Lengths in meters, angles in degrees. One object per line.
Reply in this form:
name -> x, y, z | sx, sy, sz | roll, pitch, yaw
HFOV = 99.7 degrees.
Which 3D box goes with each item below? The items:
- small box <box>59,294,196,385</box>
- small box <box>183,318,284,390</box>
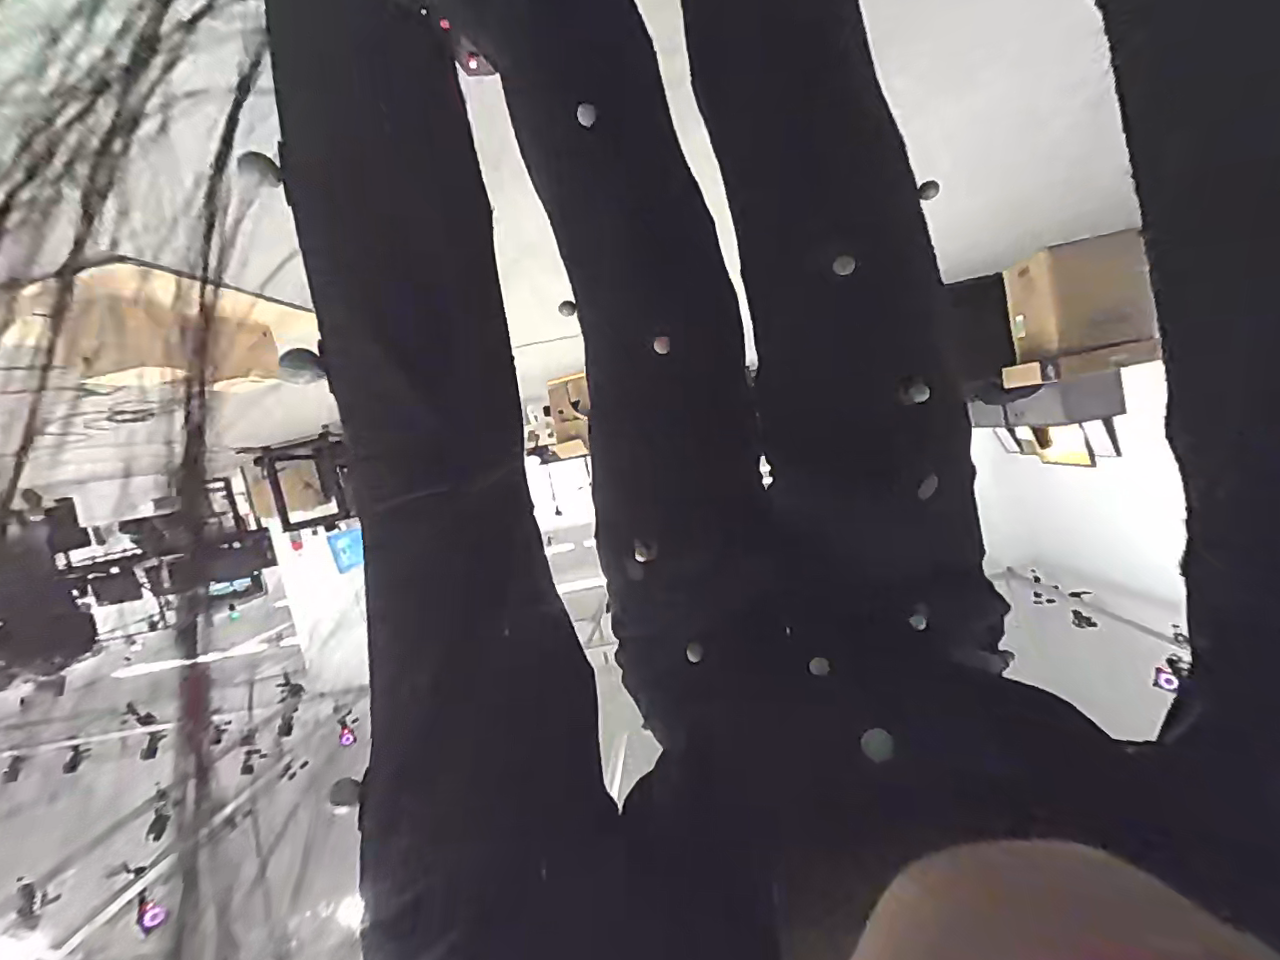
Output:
small box -> -1.263, -0.342, 1.333 | 0.179, 0.176, 0.168 | -12, -174, 3
small box -> -1.217, -0.372, 1.607 | 0.179, 0.176, 0.168 | -11, -175, 9
